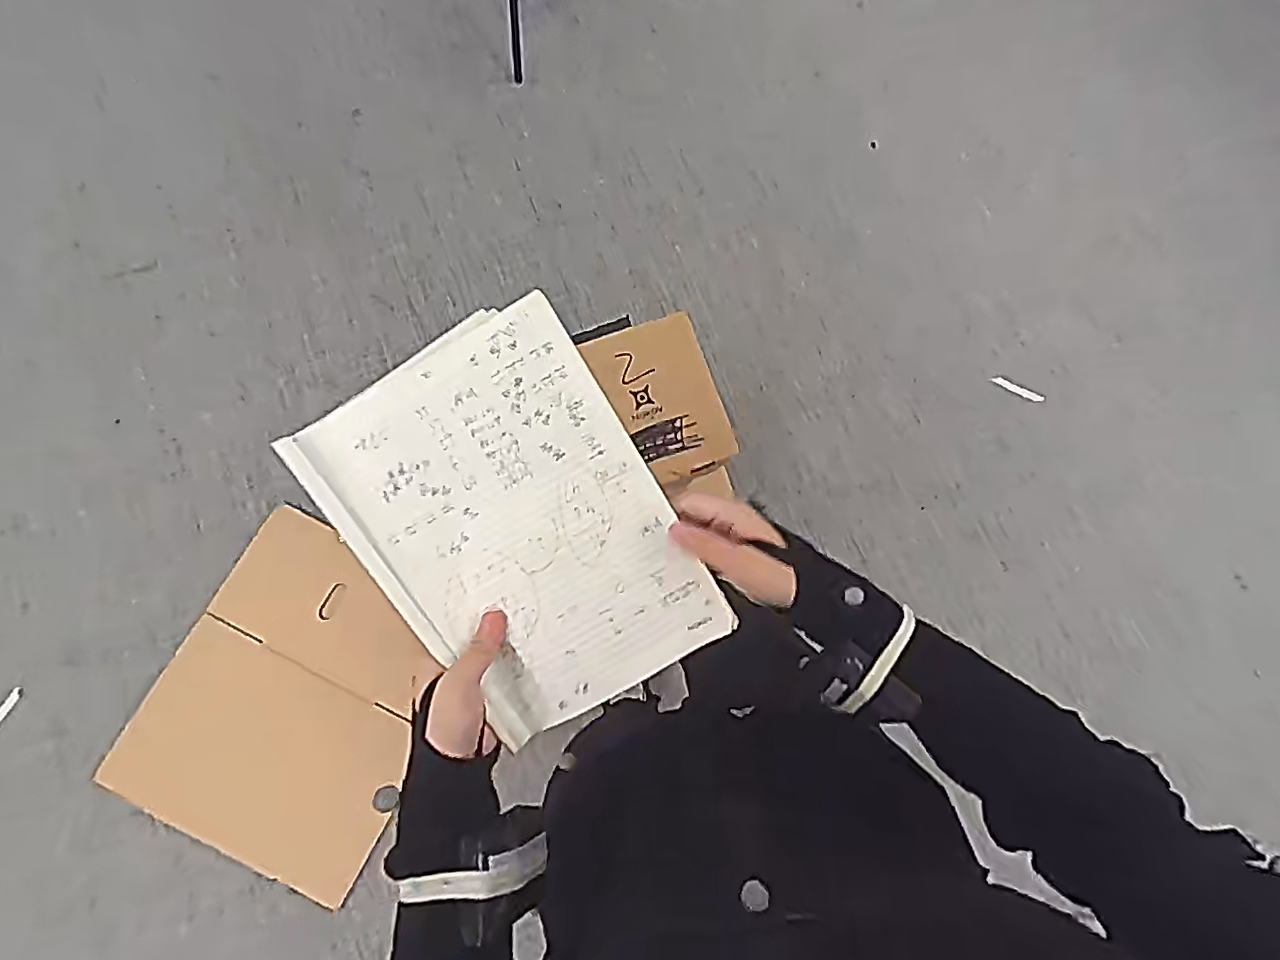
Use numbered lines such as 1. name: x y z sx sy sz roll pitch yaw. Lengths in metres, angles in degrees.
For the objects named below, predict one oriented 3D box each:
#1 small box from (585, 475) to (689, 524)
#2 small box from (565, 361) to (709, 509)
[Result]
1. small box: -0.018 -0.021 0.993 0.168 0.176 0.179 -14 81 -6
2. small box: -0.009 -0.057 0.830 0.168 0.176 0.179 -17 84 -7
